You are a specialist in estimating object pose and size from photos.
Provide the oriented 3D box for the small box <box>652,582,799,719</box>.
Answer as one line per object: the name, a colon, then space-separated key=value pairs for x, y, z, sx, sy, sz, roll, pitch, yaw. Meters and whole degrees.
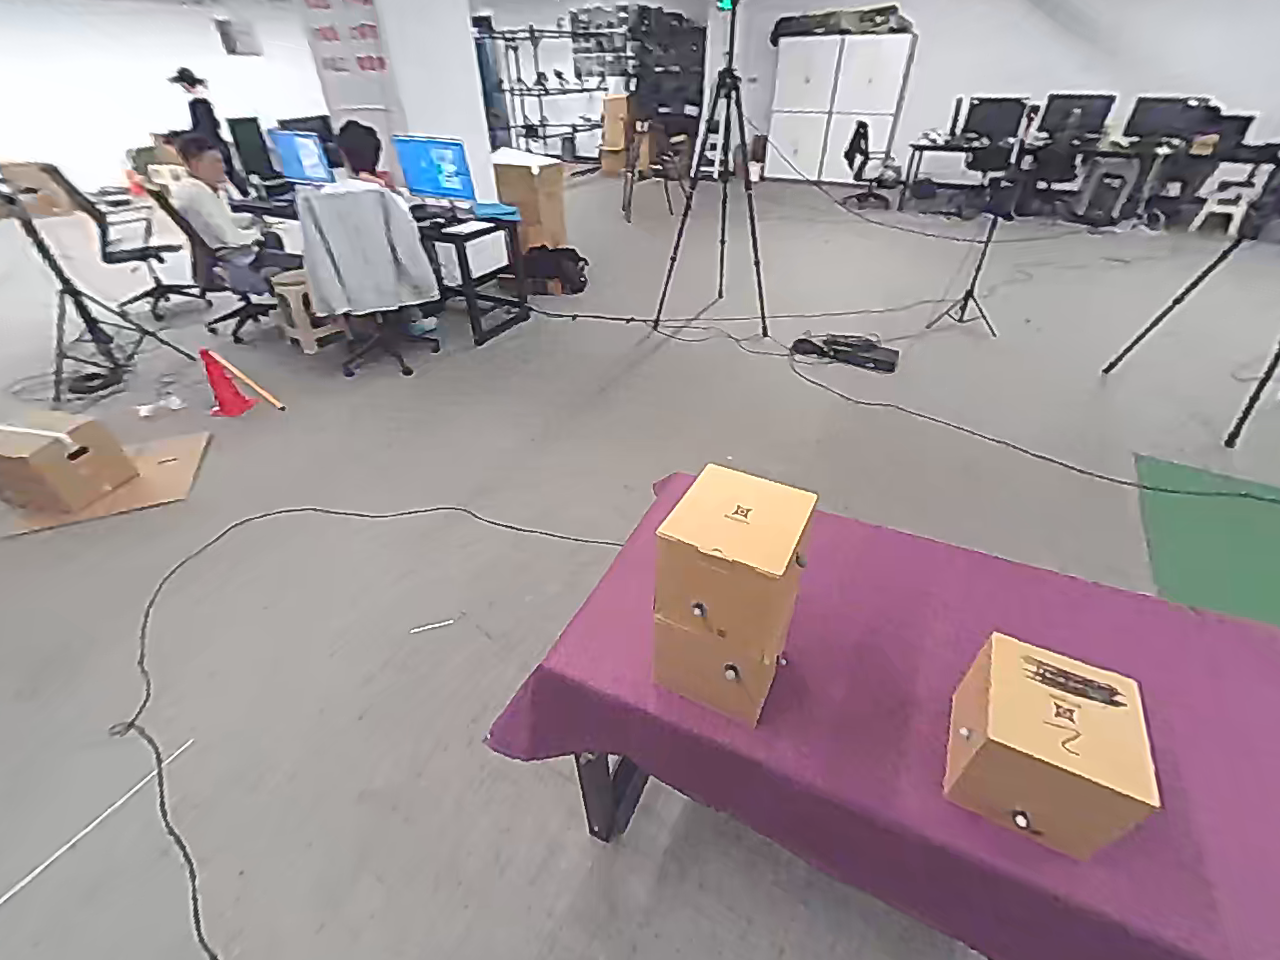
small box: x=0.133 y=0.245 z=0.856 sx=0.179 sy=0.176 sz=0.168 roll=17 pitch=40 yaw=23

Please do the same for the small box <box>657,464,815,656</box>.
small box: x=0.131 y=0.109 z=0.765 sx=0.168 sy=0.176 sz=0.179 roll=17 pitch=42 yaw=23
